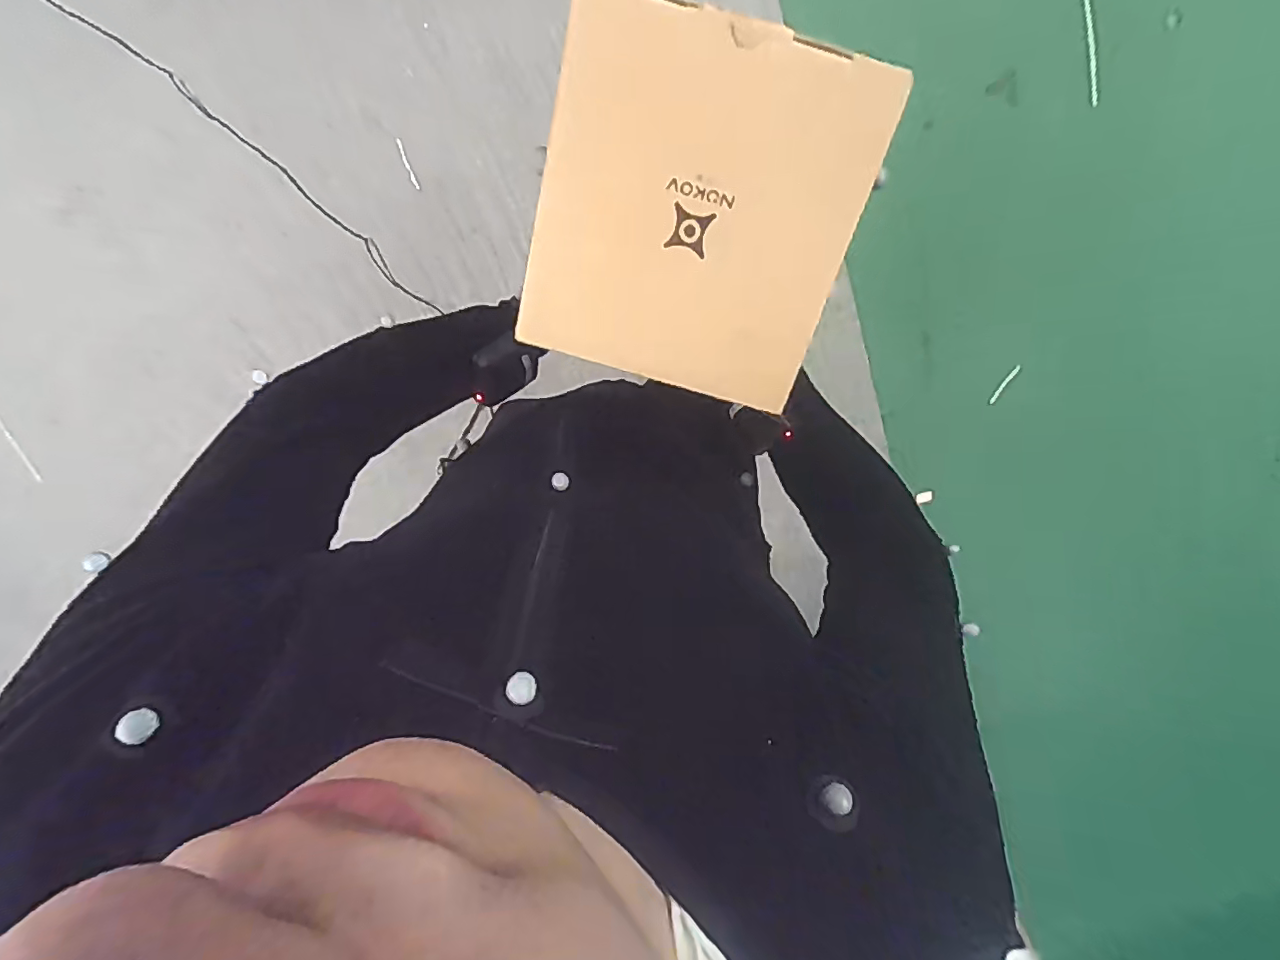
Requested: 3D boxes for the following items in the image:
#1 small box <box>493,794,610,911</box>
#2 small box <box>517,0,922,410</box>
[{"bbox_3d":[-0.183,0.820,1.173,0.168,0.176,0.179,-31,103,11],"label":"small box"},{"bbox_3d":[0.035,-0.169,0.348,0.168,0.176,0.179,15,114,-3],"label":"small box"}]
